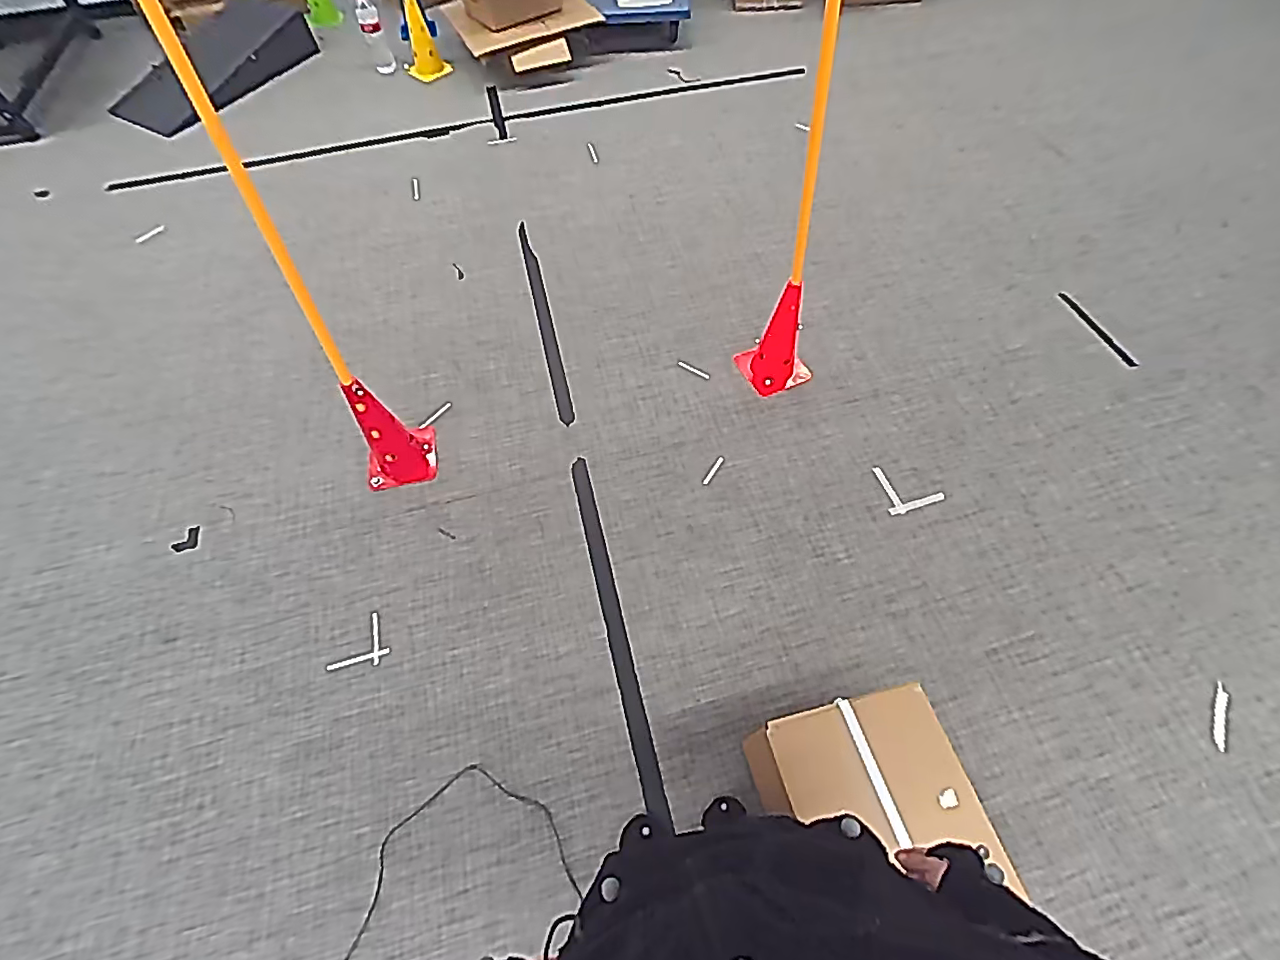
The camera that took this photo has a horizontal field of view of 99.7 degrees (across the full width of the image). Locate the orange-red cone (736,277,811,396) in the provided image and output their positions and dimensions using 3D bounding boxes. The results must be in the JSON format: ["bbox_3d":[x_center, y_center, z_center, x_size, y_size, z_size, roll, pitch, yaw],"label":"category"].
[{"bbox_3d":[0.438,-0.459,1.638,0.199,0.360,0.198,-21,62,-12],"label":"orange-red cone"}]
